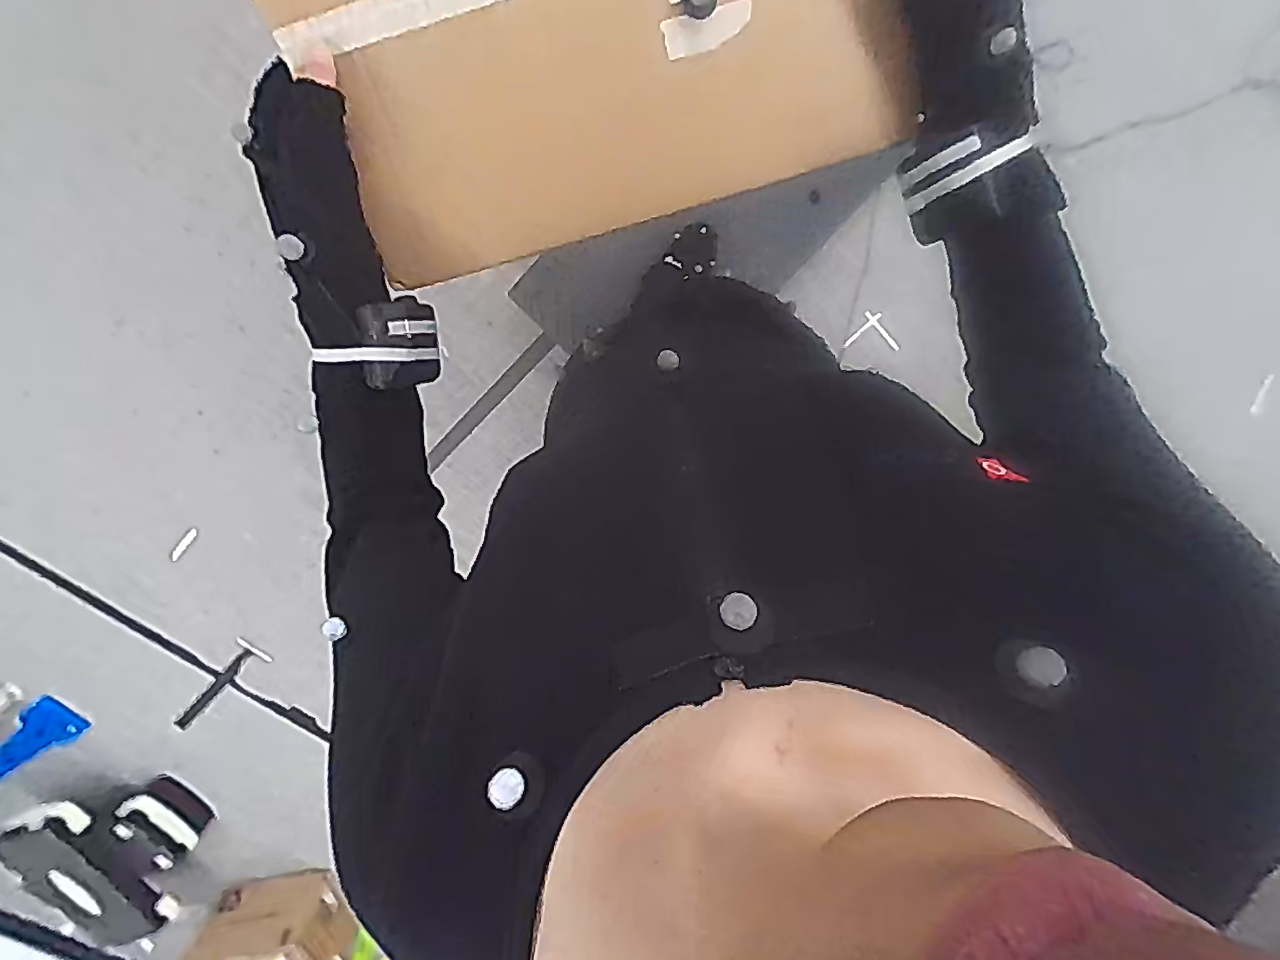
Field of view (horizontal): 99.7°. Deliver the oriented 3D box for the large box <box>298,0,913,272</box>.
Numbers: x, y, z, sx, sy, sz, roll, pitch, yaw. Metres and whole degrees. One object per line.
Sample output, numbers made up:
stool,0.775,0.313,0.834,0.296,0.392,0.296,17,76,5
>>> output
large box,-0.035,-0.408,0.481,0.408,0.320,0.320,-14,117,4
